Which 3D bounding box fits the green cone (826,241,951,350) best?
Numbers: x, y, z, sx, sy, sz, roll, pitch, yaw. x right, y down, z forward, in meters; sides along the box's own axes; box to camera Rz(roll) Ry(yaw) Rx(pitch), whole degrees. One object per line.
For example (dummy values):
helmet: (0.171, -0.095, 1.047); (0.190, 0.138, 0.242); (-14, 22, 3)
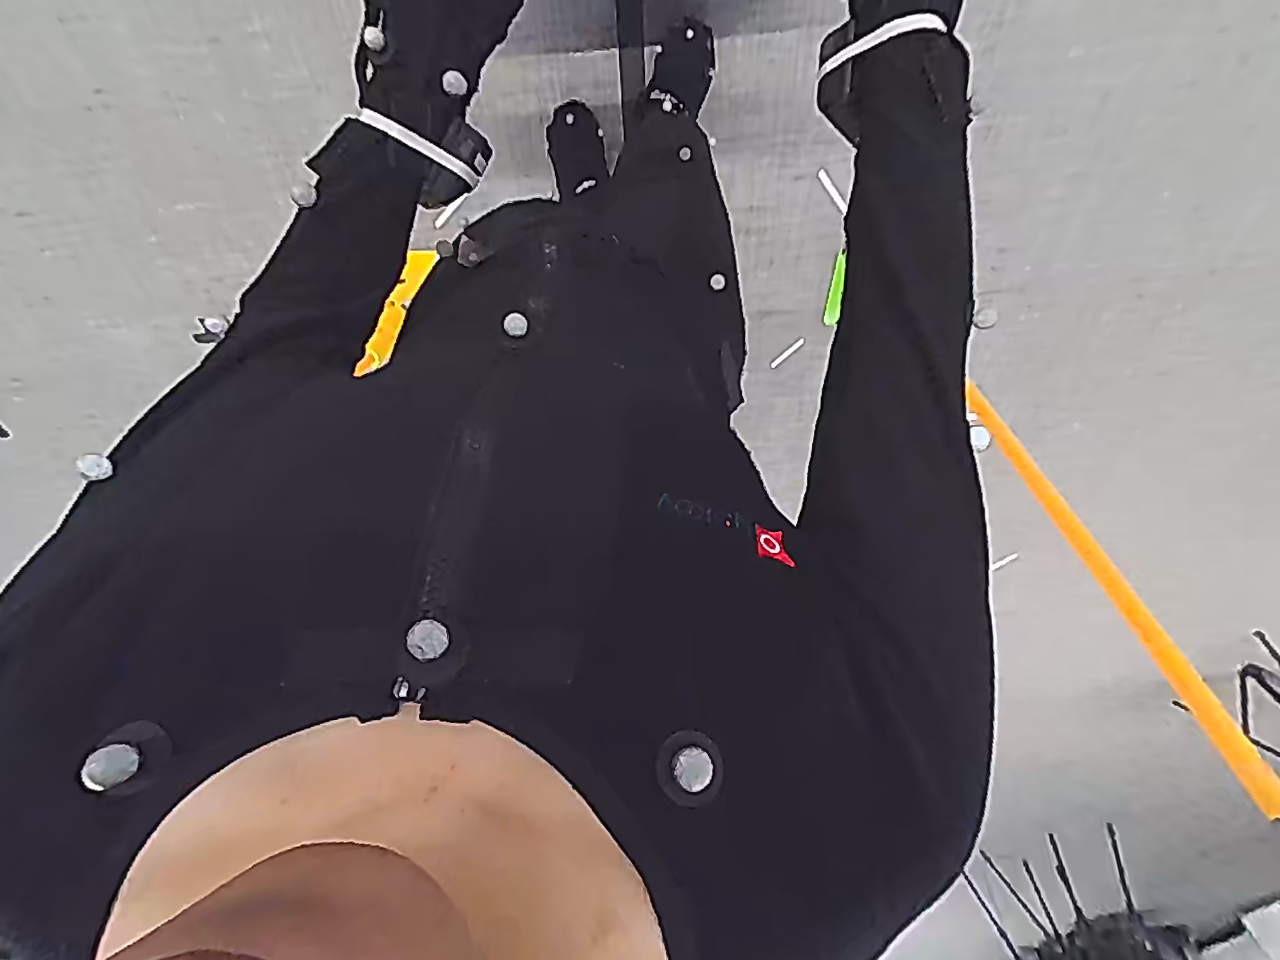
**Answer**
green cone: (0.592, -0.389, 1.229); (0.202, 0.368, 0.200); (-2, 129, -3)
